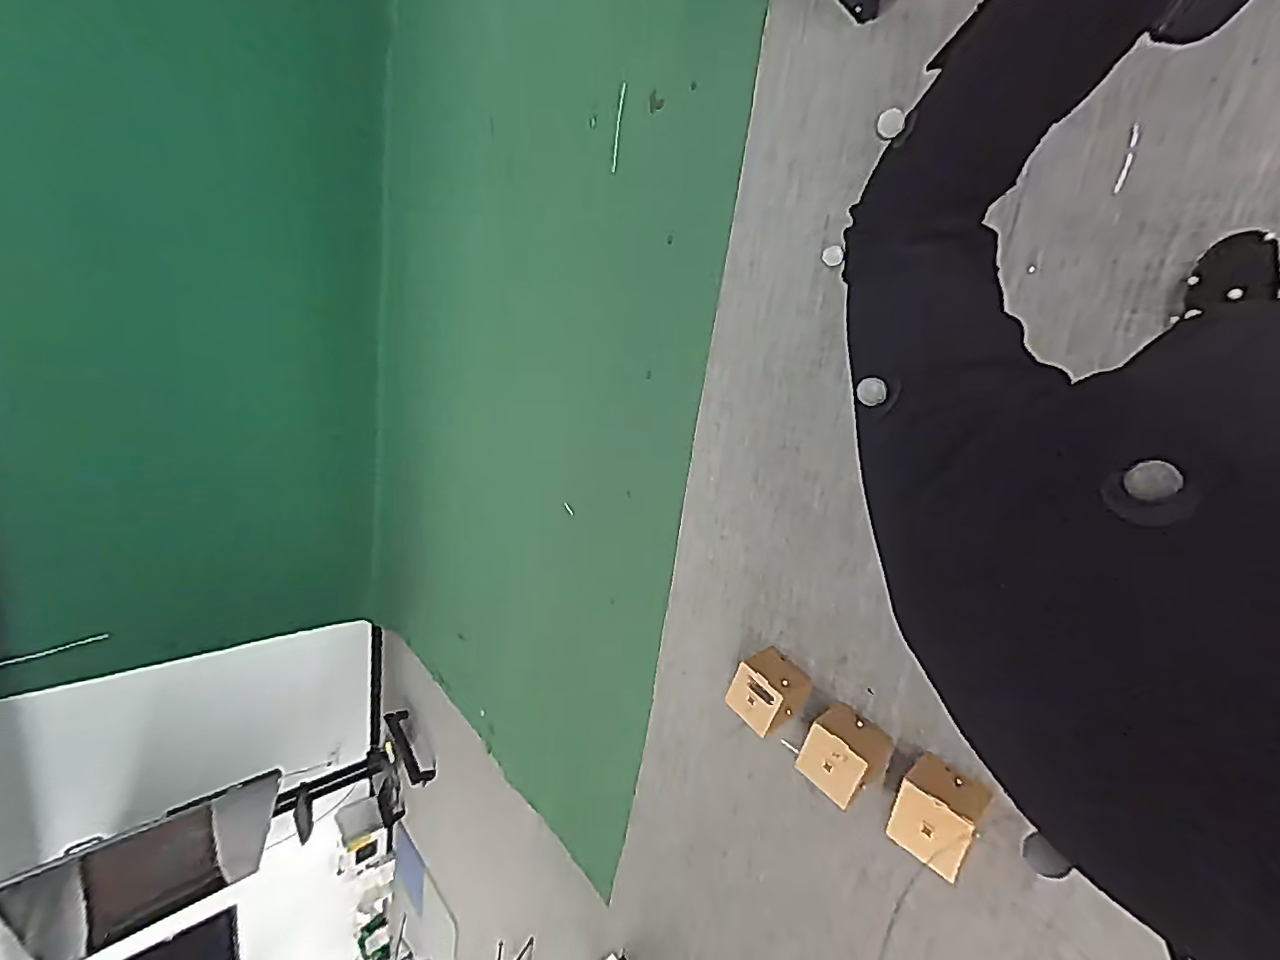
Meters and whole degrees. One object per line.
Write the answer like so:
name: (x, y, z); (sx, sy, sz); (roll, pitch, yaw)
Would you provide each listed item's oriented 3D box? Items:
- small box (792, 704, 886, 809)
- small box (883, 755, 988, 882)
small box: (0.568, 0.777, 1.535); (0.168, 0.176, 0.179); (32, 115, 39)
small box: (0.745, 0.840, 1.360); (0.168, 0.176, 0.179); (23, 109, 43)
